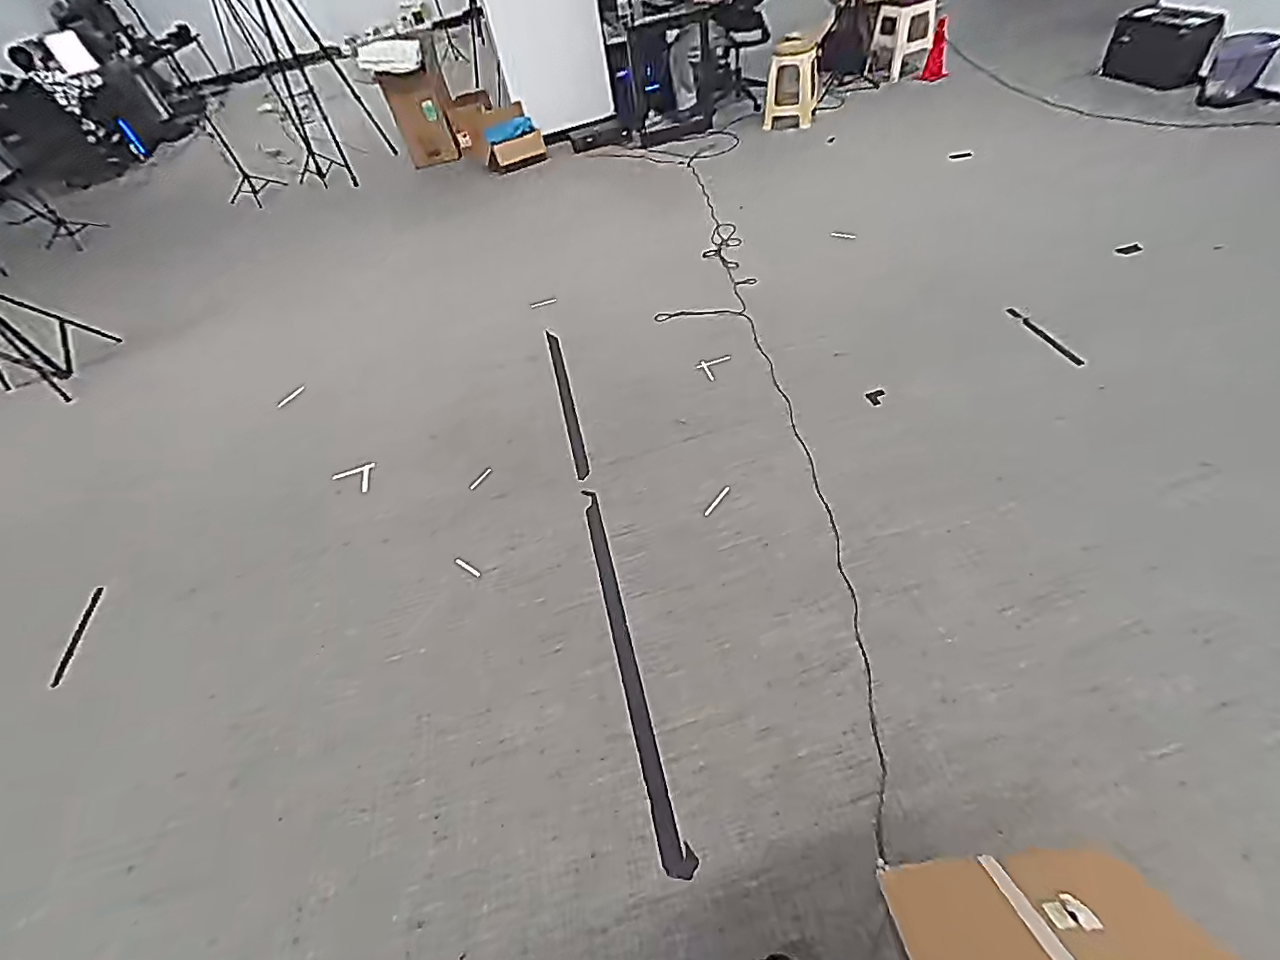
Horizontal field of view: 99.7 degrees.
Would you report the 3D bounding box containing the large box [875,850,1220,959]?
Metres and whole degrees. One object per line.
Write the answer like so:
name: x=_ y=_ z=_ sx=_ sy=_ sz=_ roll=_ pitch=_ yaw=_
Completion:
large box: x=0.501 y=0.688 z=0.580 sx=0.320 sy=0.408 sz=0.320 roll=-12 pitch=81 yaw=8
